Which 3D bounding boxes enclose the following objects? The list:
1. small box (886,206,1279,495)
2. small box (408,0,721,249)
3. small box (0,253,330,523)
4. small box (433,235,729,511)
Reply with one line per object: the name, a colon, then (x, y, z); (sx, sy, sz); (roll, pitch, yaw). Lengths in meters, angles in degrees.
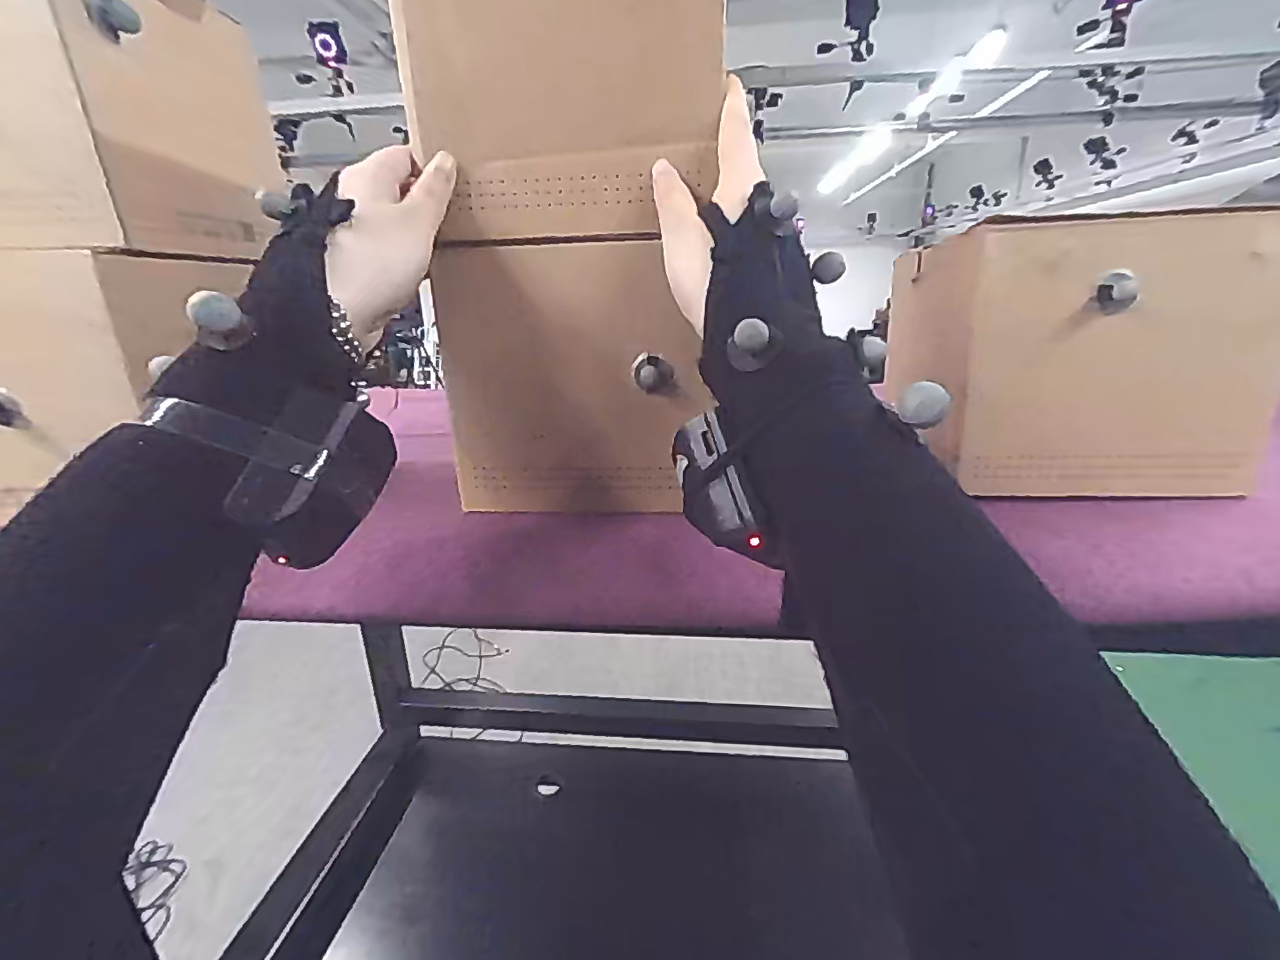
small box: (0.296, -0.089, 0.404); (0.179, 0.176, 0.168); (0, 15, 7)
small box: (-0.038, -0.235, 0.366); (0.179, 0.176, 0.168); (0, 16, 3)
small box: (-0.370, -0.074, 0.412); (0.168, 0.176, 0.179); (1, 18, 3)
small box: (-0.027, -0.079, 0.410); (0.179, 0.176, 0.168); (-1, 15, 5)
